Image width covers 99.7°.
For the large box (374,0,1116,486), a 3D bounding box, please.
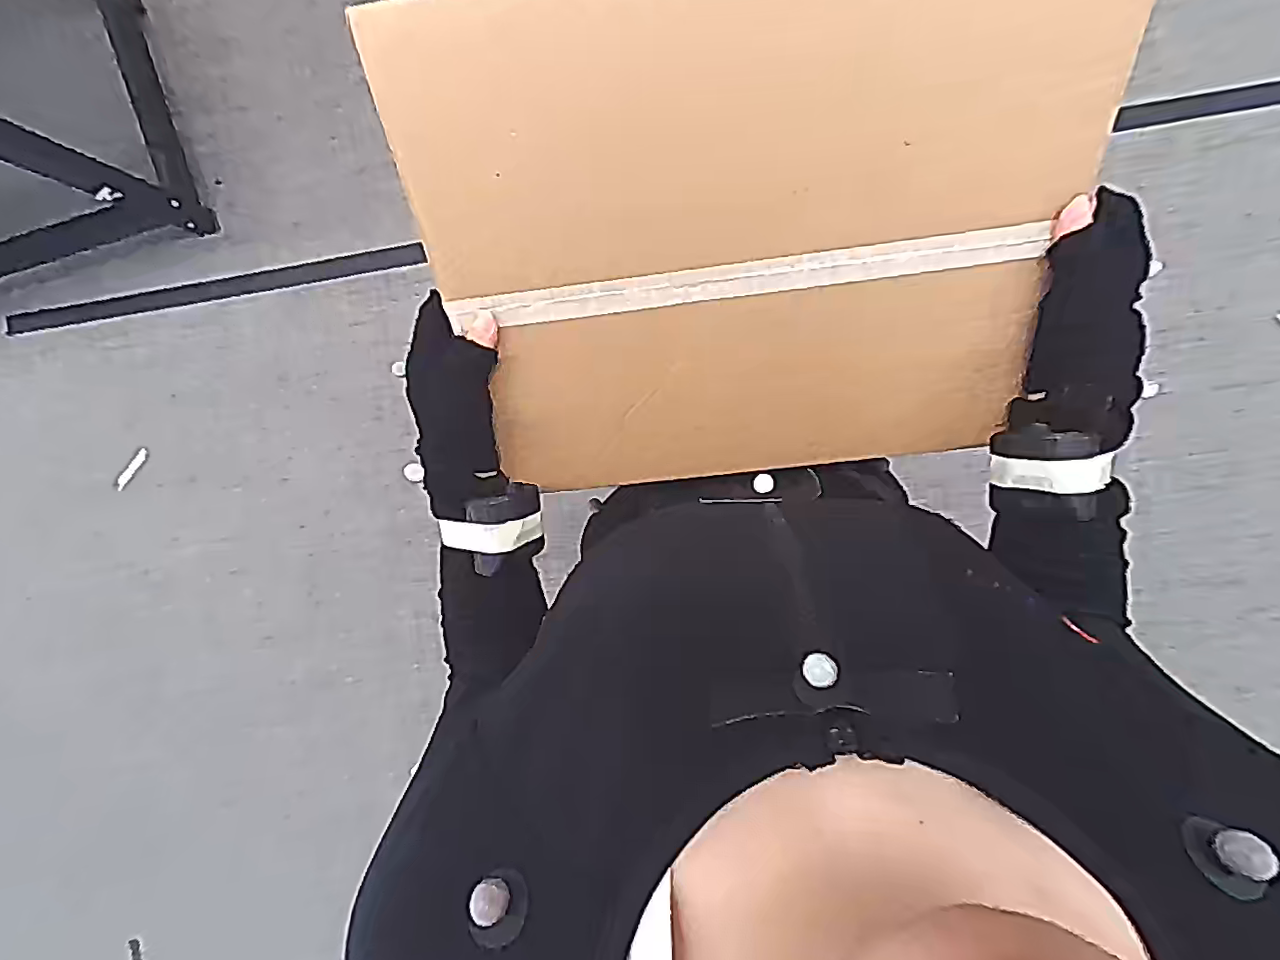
[{"bbox_3d":[0.068,-0.227,0.486,0.408,0.320,0.320,-6,126,4],"label":"large box"}]
